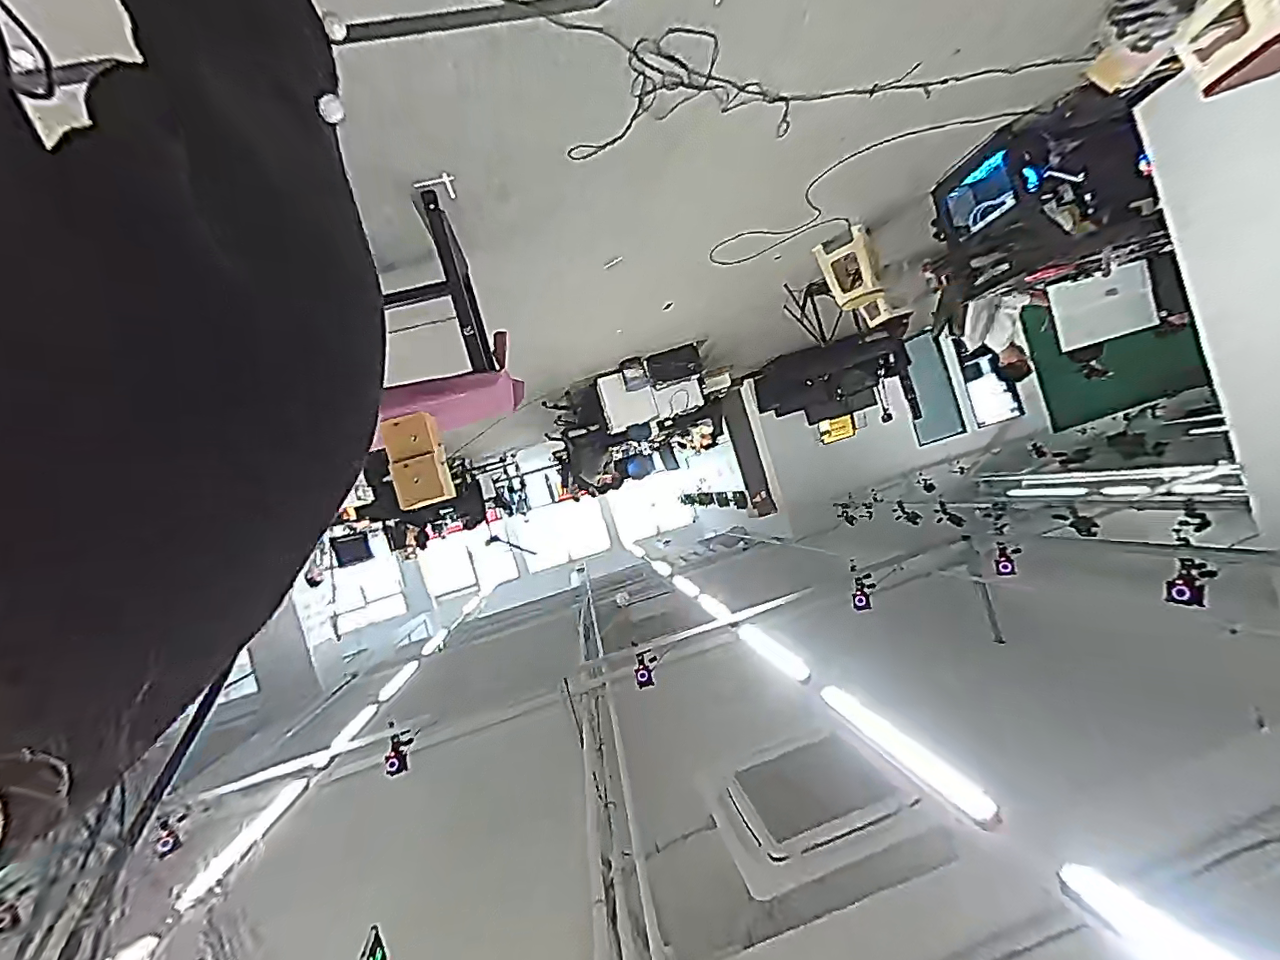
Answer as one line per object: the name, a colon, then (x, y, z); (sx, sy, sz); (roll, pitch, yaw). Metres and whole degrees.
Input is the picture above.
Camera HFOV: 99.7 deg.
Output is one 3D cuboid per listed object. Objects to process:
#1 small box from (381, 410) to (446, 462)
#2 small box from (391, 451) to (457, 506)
small box: (-0.864, -0.162, 2.065); (0.168, 0.176, 0.179); (-17, -179, -7)
small box: (-0.815, -0.006, 2.040); (0.168, 0.176, 0.179); (-17, 180, -6)
